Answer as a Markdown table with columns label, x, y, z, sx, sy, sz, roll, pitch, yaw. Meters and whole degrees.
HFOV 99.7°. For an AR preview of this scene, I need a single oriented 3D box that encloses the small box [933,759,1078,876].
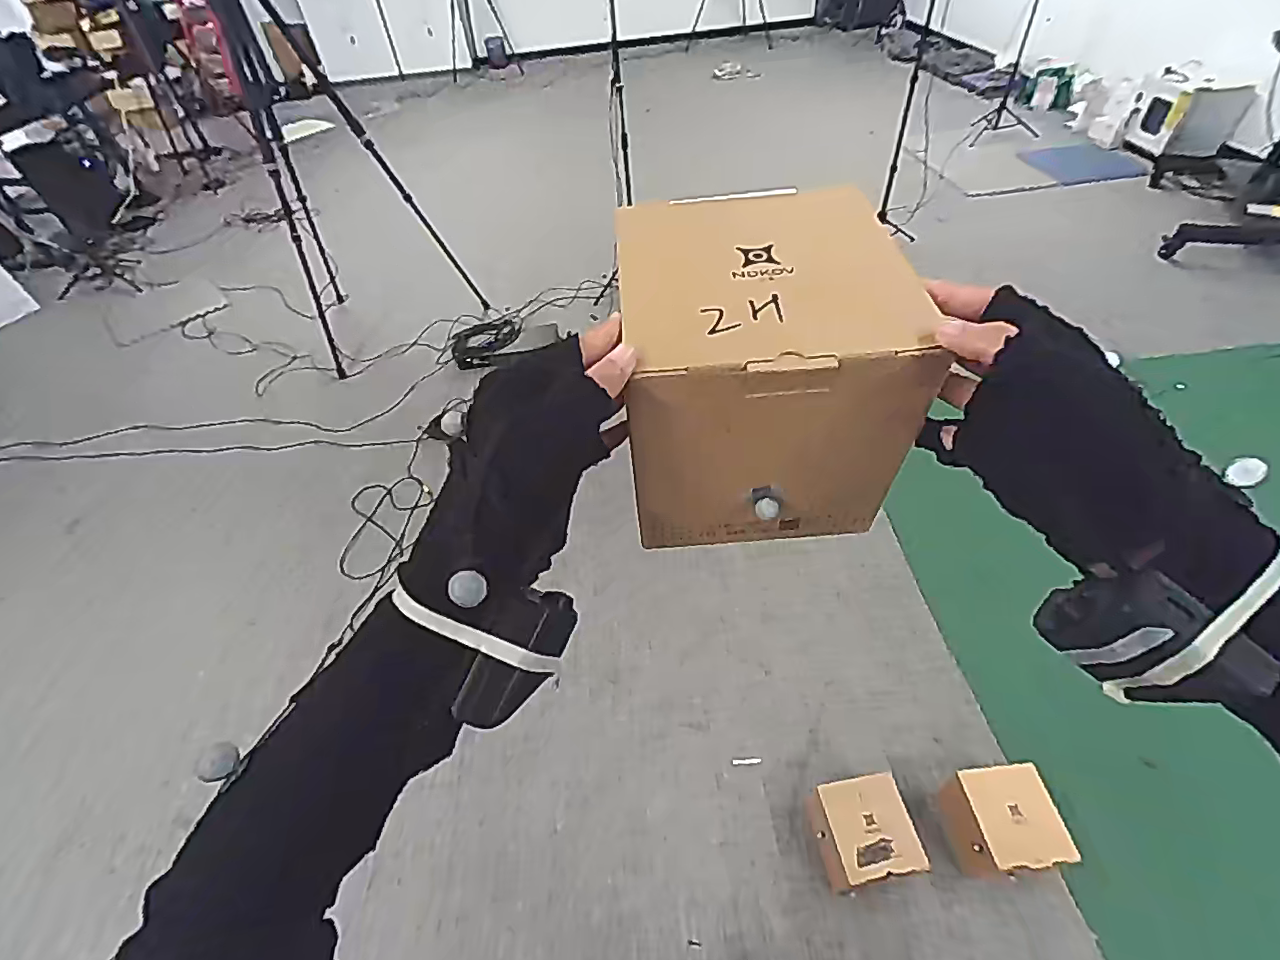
| label | x | y | z | sx | sy | sz | roll | pitch | yaw |
| --- | --- | --- | --- | --- | --- | --- | --- | --- | --- |
| small box | 0.761 | 0.720 | 1.152 | 0.168 | 0.176 | 0.179 | -7 | 48 | 0 |

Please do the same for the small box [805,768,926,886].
| label | x | y | z | sx | sy | sz | roll | pitch | yaw |
| --- | --- | --- | --- | --- | --- | --- | --- | --- | --- |
| small box | 0.470 | 0.746 | 1.155 | 0.168 | 0.176 | 0.179 | -9 | 47 | -3 |
